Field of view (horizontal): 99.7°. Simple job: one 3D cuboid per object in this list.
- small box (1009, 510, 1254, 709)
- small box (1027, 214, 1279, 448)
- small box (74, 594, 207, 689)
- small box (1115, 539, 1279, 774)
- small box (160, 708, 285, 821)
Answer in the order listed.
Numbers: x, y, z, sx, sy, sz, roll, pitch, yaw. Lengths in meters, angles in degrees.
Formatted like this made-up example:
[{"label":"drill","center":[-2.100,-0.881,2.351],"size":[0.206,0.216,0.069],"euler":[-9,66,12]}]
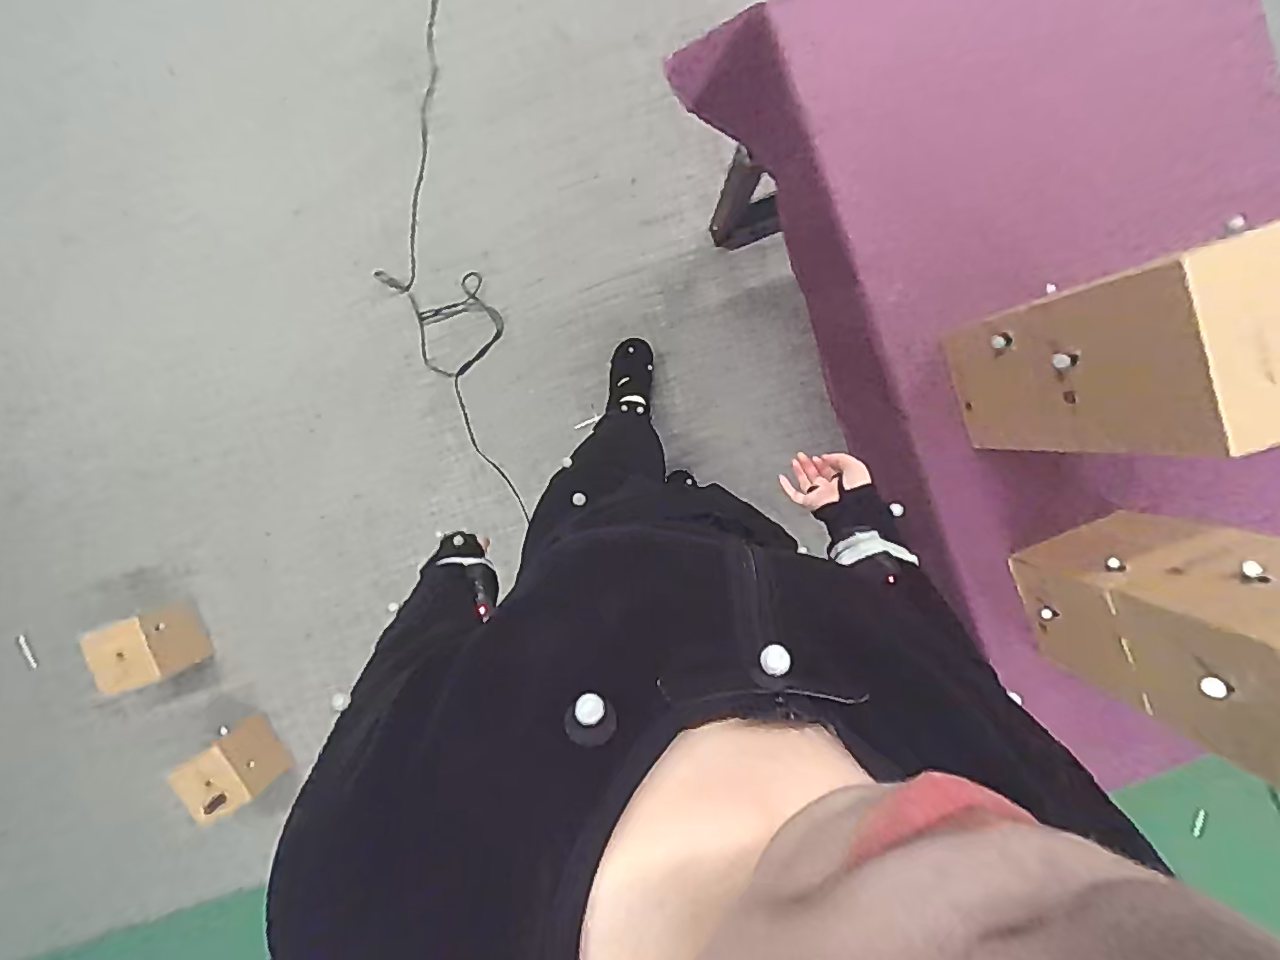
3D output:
[{"label":"small box","center":[0.631,0.151,0.694],"size":[0.179,0.176,0.168],"euler":[-23,95,2]},{"label":"small box","center":[0.515,-0.135,0.500],"size":[0.179,0.176,0.168],"euler":[-18,95,1]},{"label":"small box","center":[-1.311,0.416,1.433],"size":[0.168,0.176,0.179],"euler":[-17,95,2]},{"label":"small box","center":[0.630,0.169,0.530],"size":[0.168,0.176,0.179],"euler":[-23,94,3]},{"label":"small box","center":[-1.119,0.763,1.468],"size":[0.168,0.176,0.179],"euler":[-29,94,2]}]
